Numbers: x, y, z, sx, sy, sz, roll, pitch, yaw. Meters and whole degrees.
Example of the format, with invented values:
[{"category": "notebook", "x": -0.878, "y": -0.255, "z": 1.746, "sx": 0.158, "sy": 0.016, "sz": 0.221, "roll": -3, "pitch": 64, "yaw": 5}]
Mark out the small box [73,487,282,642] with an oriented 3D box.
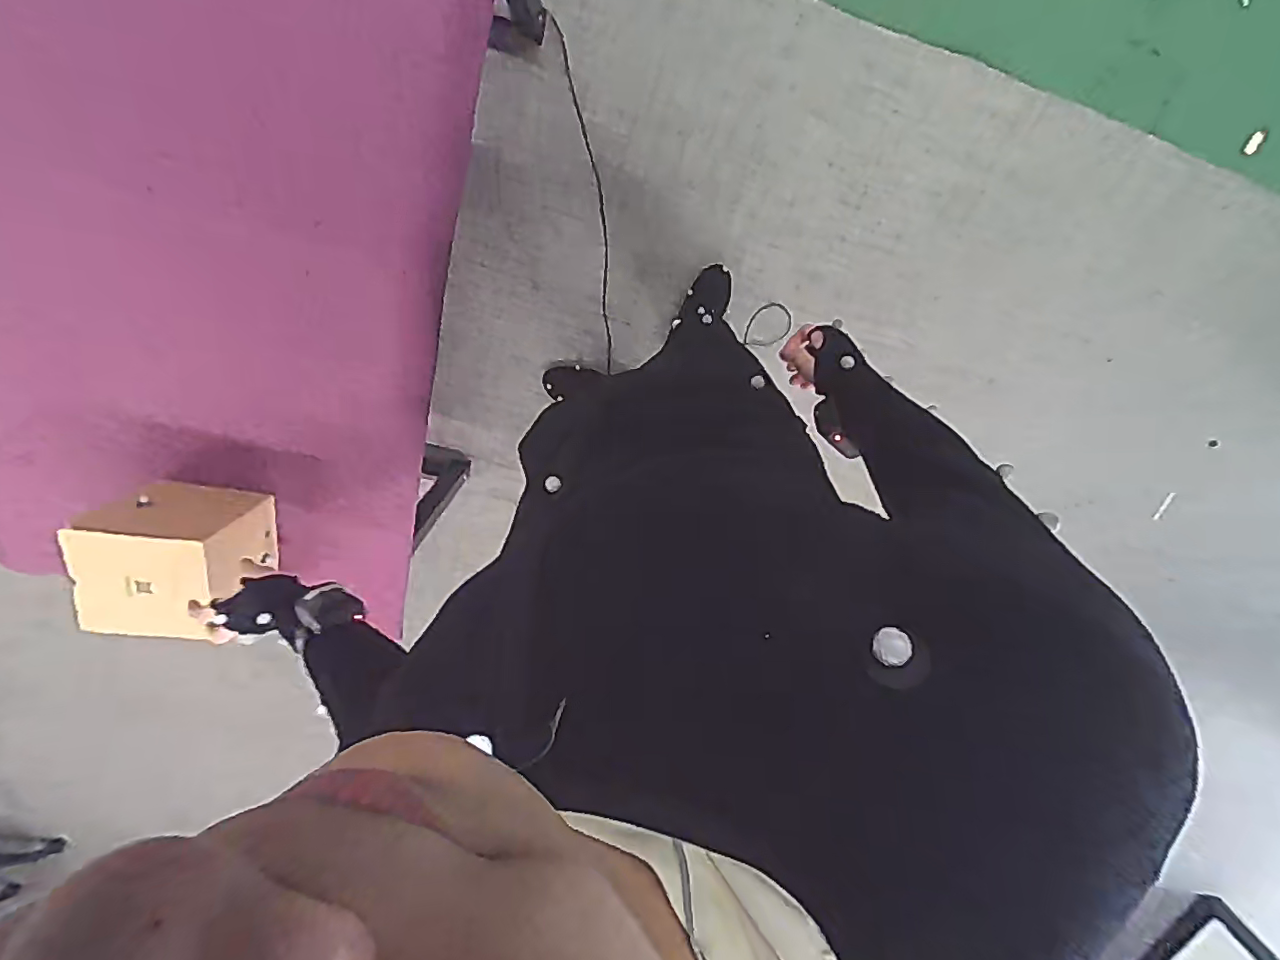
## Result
[{"category": "small box", "x": -0.693, "y": 0.121, "z": 0.834, "sx": 0.179, "sy": 0.176, "sz": 0.168, "roll": 9, "pitch": 111, "yaw": -5}]
